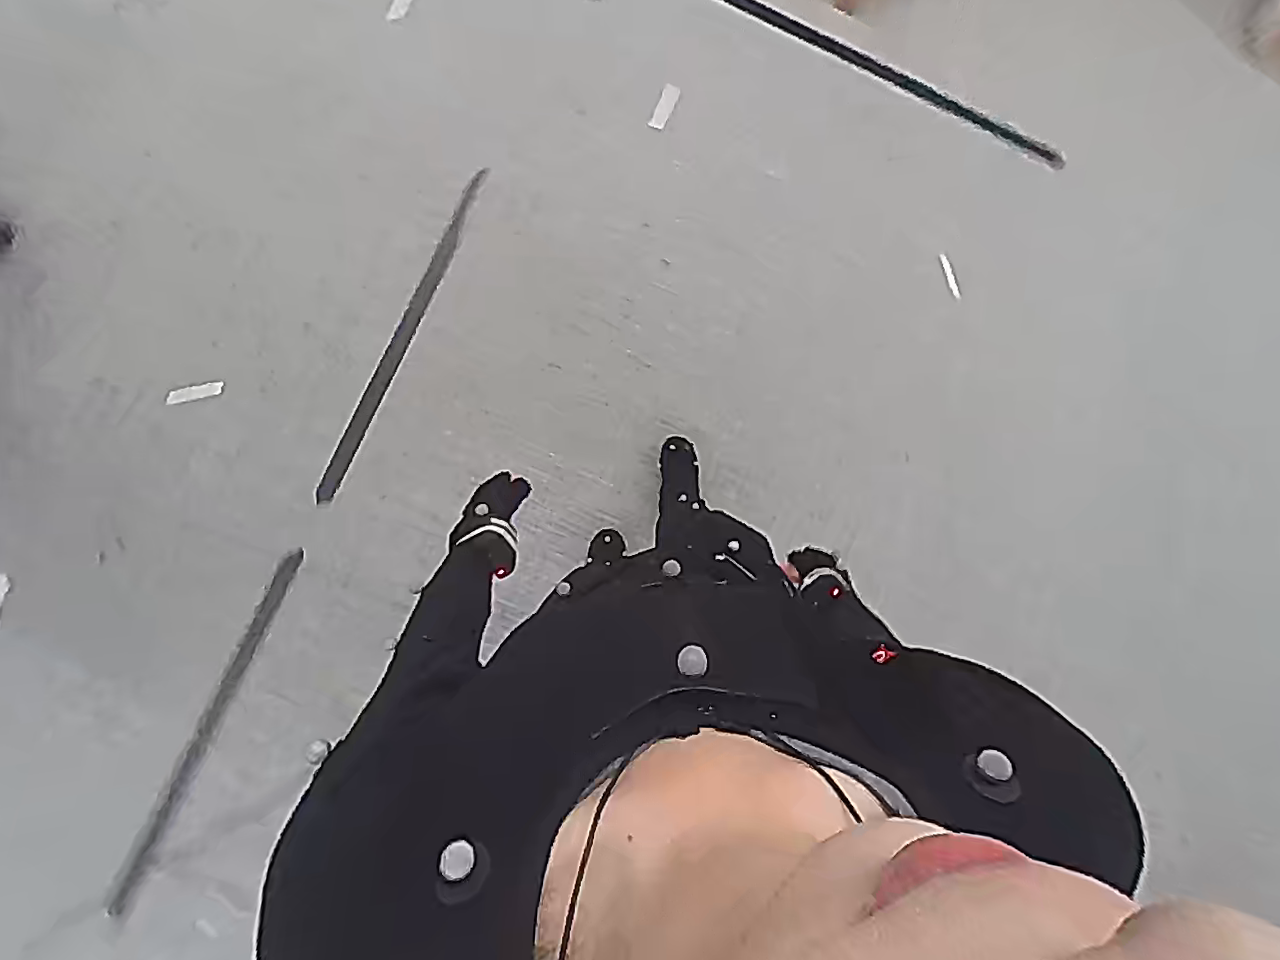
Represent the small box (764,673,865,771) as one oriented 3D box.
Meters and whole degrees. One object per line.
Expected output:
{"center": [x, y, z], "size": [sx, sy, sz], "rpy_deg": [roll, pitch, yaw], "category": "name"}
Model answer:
{"center": [0.465, 0.646, 1.464], "size": [0.179, 0.176, 0.168], "rpy_deg": [23, 84, -3], "category": "small box"}
